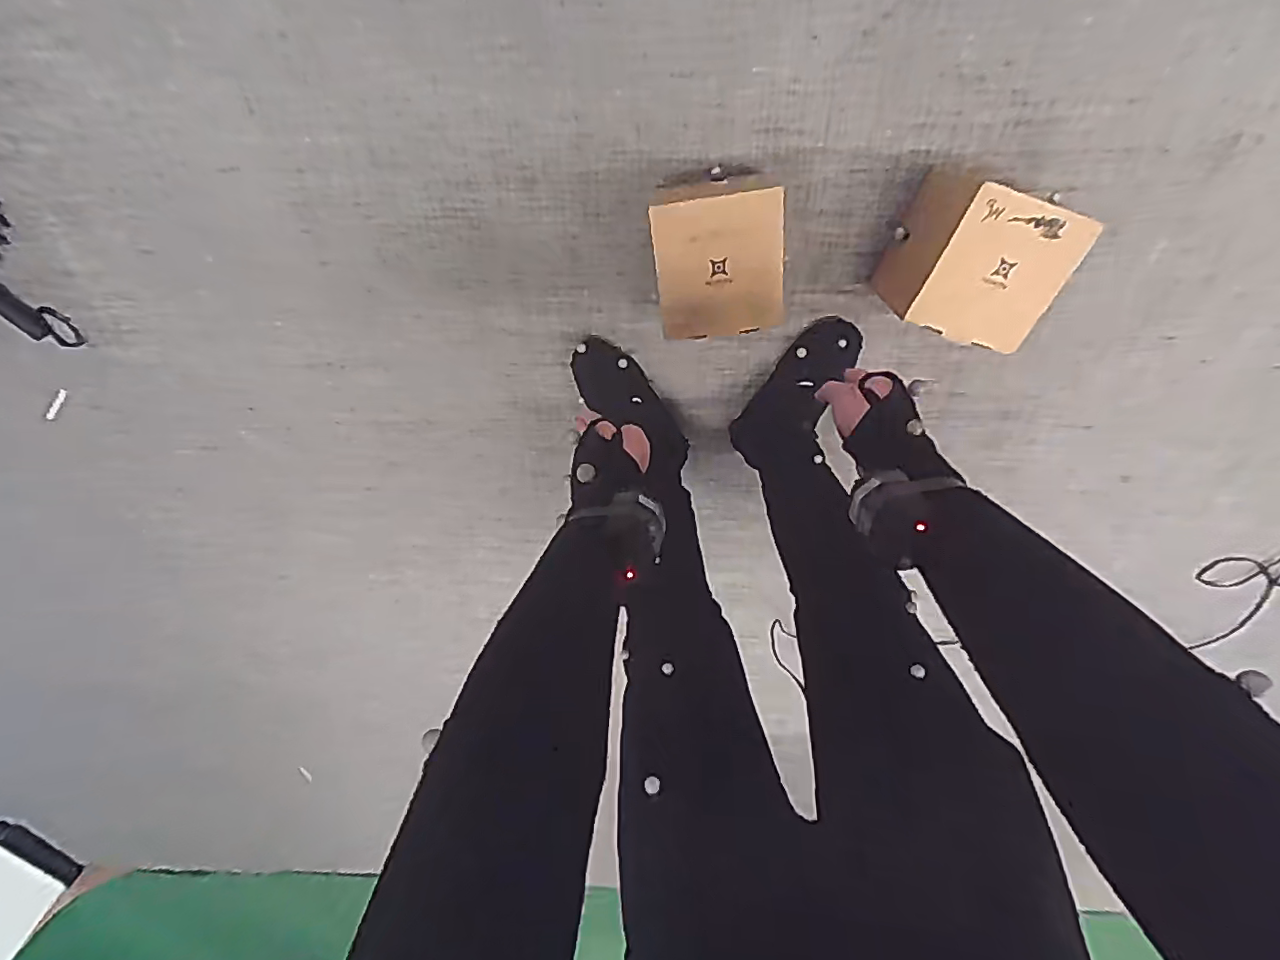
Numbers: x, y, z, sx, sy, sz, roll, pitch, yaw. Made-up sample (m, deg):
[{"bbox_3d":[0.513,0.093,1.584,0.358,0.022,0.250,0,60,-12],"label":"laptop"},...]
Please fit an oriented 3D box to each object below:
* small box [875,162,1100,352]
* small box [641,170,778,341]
[{"bbox_3d":[0.446,-0.307,0.737,0.168,0.176,0.179,15,125,-7],"label":"small box"},{"bbox_3d":[0.097,-0.315,0.754,0.168,0.176,0.179,-7,123,7],"label":"small box"}]
